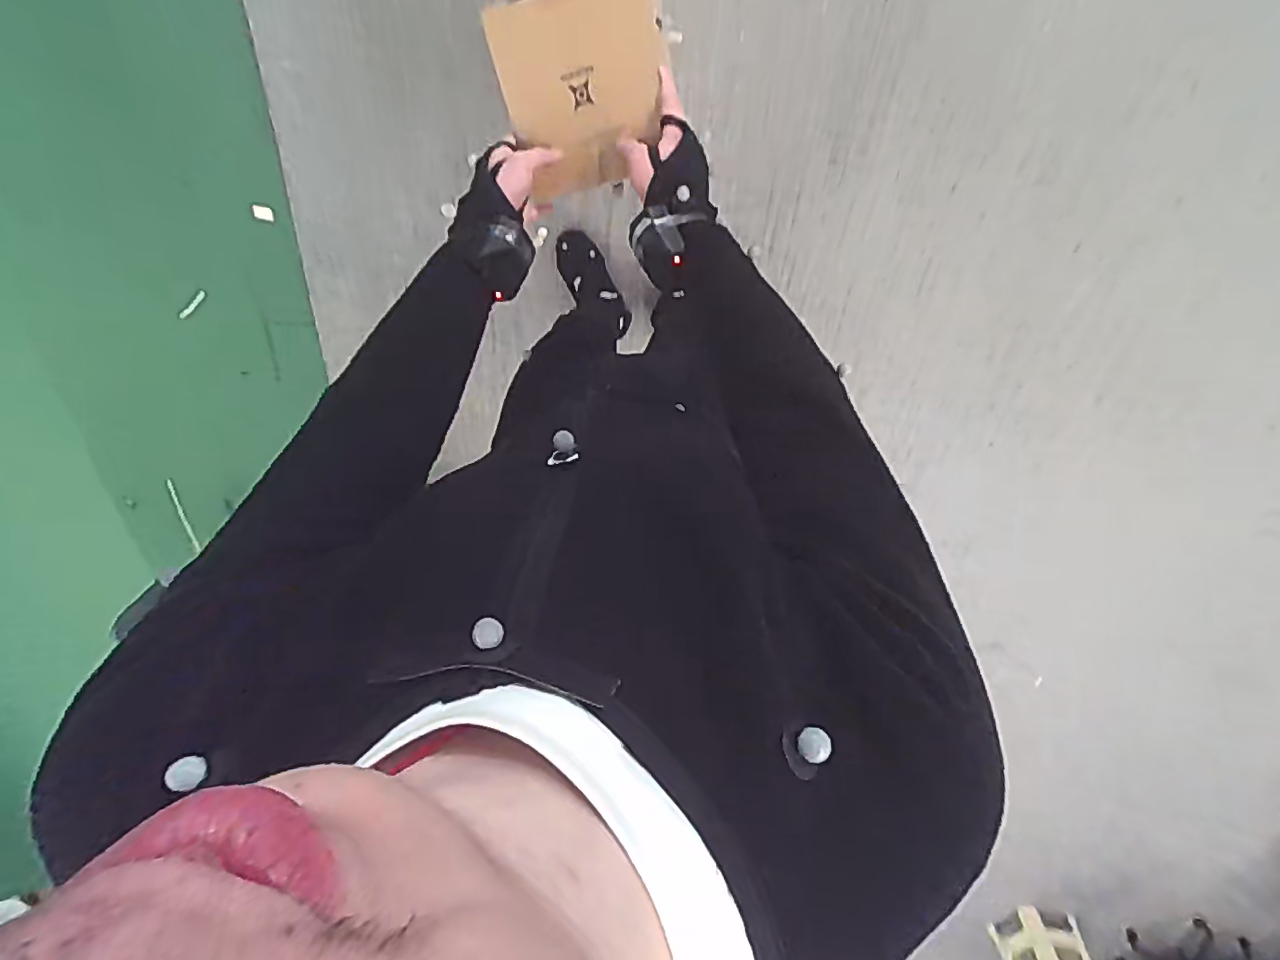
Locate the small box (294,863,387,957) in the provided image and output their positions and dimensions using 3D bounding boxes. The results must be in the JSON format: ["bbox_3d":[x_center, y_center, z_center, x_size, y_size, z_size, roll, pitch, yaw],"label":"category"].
[{"bbox_3d":[-0.877,1.269,1.601,0.168,0.176,0.179,6,121,1],"label":"small box"}]
